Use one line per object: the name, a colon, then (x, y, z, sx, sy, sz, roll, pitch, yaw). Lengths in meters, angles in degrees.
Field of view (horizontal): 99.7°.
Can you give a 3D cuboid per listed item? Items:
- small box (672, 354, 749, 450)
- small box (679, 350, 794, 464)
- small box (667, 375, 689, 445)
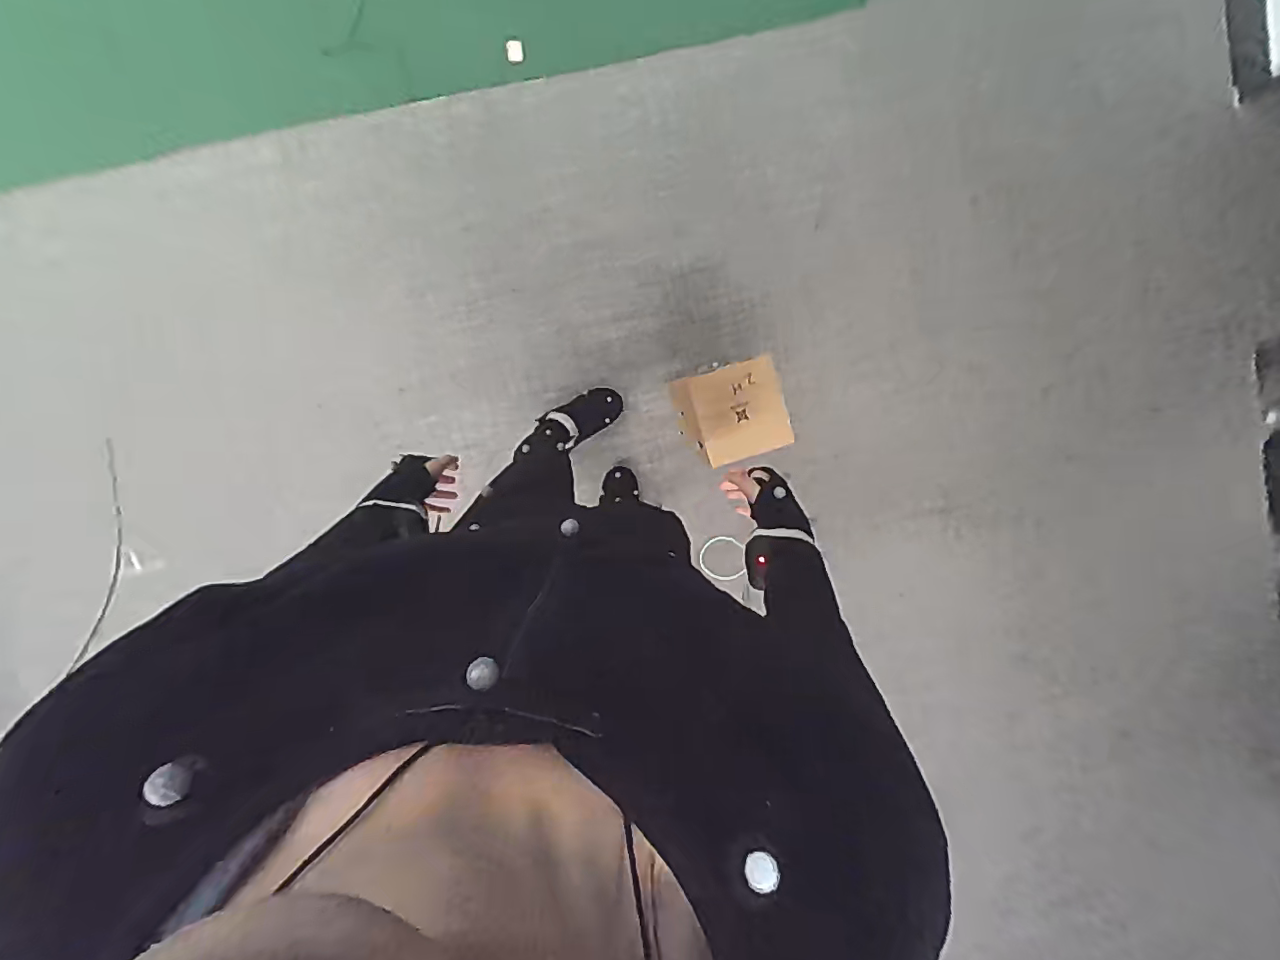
small box: (0.177, -0.170, 1.232, 0.168, 0.176, 0.179, -17, 96, 0)
small box: (0.182, -0.143, 1.069, 0.168, 0.176, 0.179, -16, 96, -1)
small box: (0.174, -0.197, 1.395, 0.168, 0.176, 0.179, -17, 96, 0)
